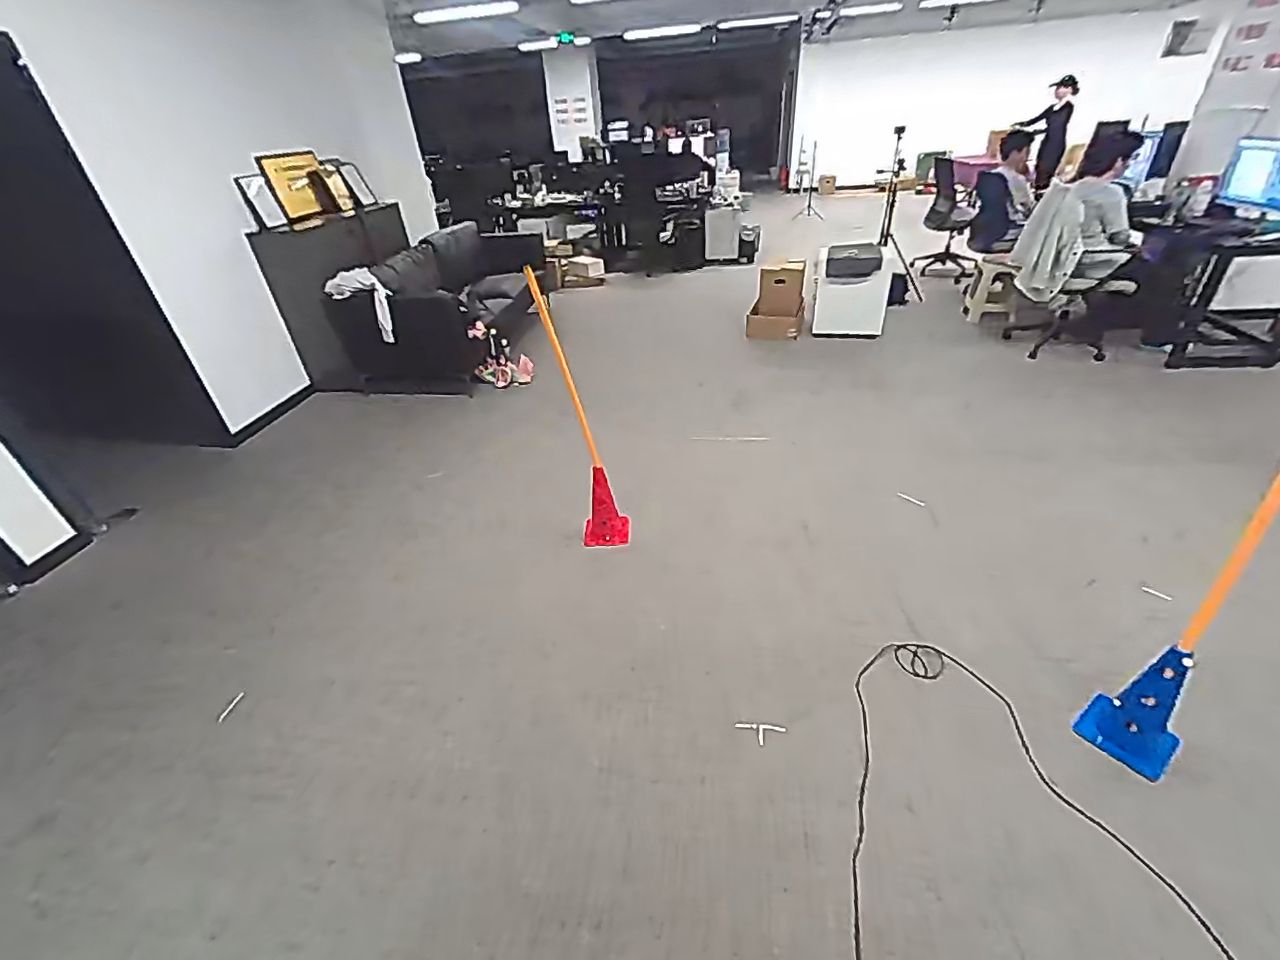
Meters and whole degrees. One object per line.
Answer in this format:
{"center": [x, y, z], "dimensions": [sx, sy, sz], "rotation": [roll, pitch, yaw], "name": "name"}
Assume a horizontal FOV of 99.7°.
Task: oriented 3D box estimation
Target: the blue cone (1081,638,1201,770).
{"center": [1.367, 0.560, 1.439], "dimensions": [0.193, 0.380, 0.192], "rotation": [-24, 37, -30], "name": "blue cone"}
